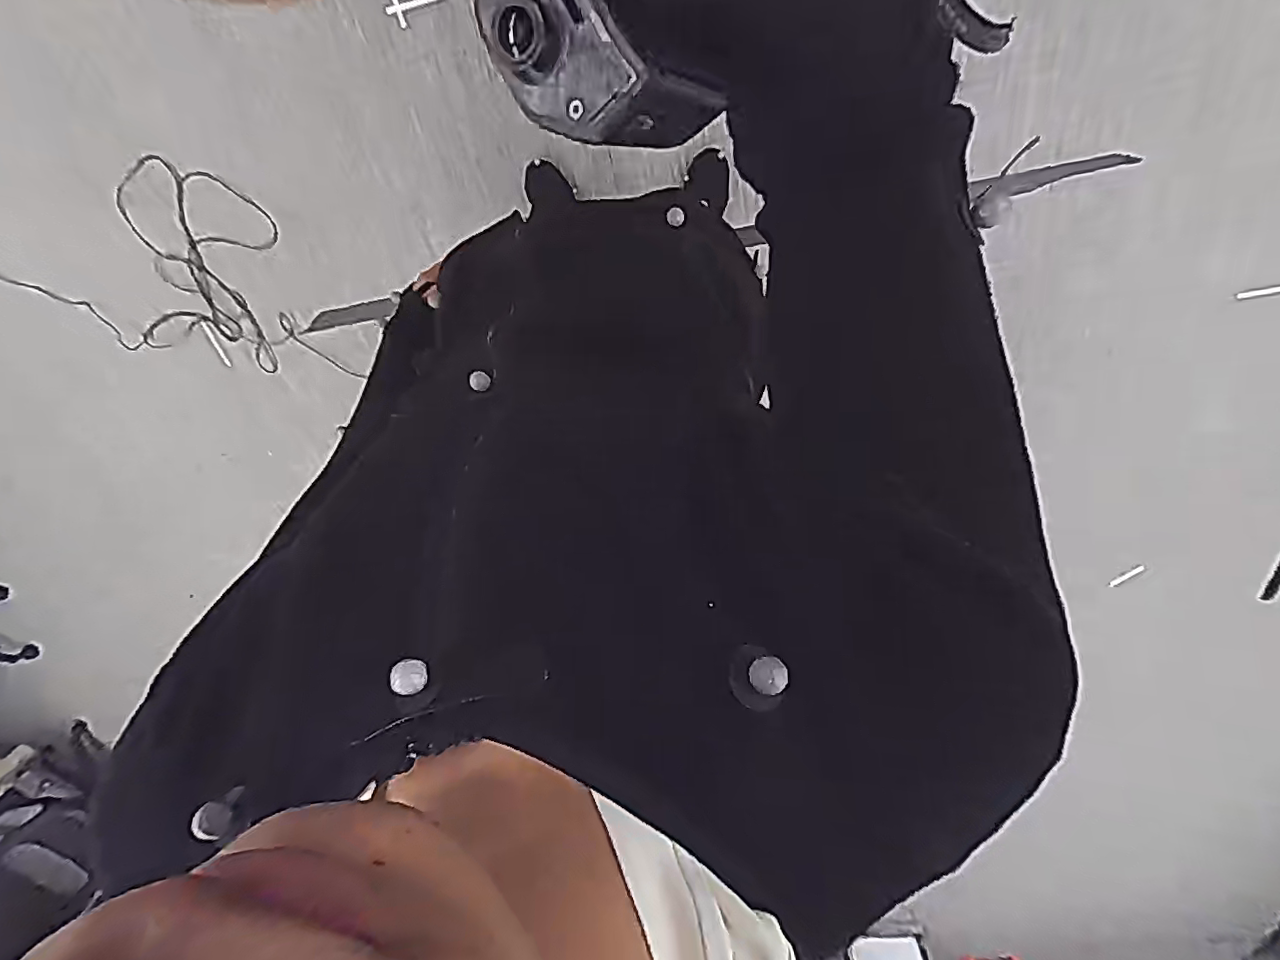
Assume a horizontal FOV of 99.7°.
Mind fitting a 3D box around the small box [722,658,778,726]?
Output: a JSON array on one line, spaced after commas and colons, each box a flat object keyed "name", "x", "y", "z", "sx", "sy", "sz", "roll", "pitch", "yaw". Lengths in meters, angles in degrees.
[{"name": "small box", "x": 0.404, "y": 0.778, "z": 2.000, "sx": 0.168, "sy": 0.176, "sz": 0.179, "roll": -11, "pitch": 123, "yaw": 9}]
